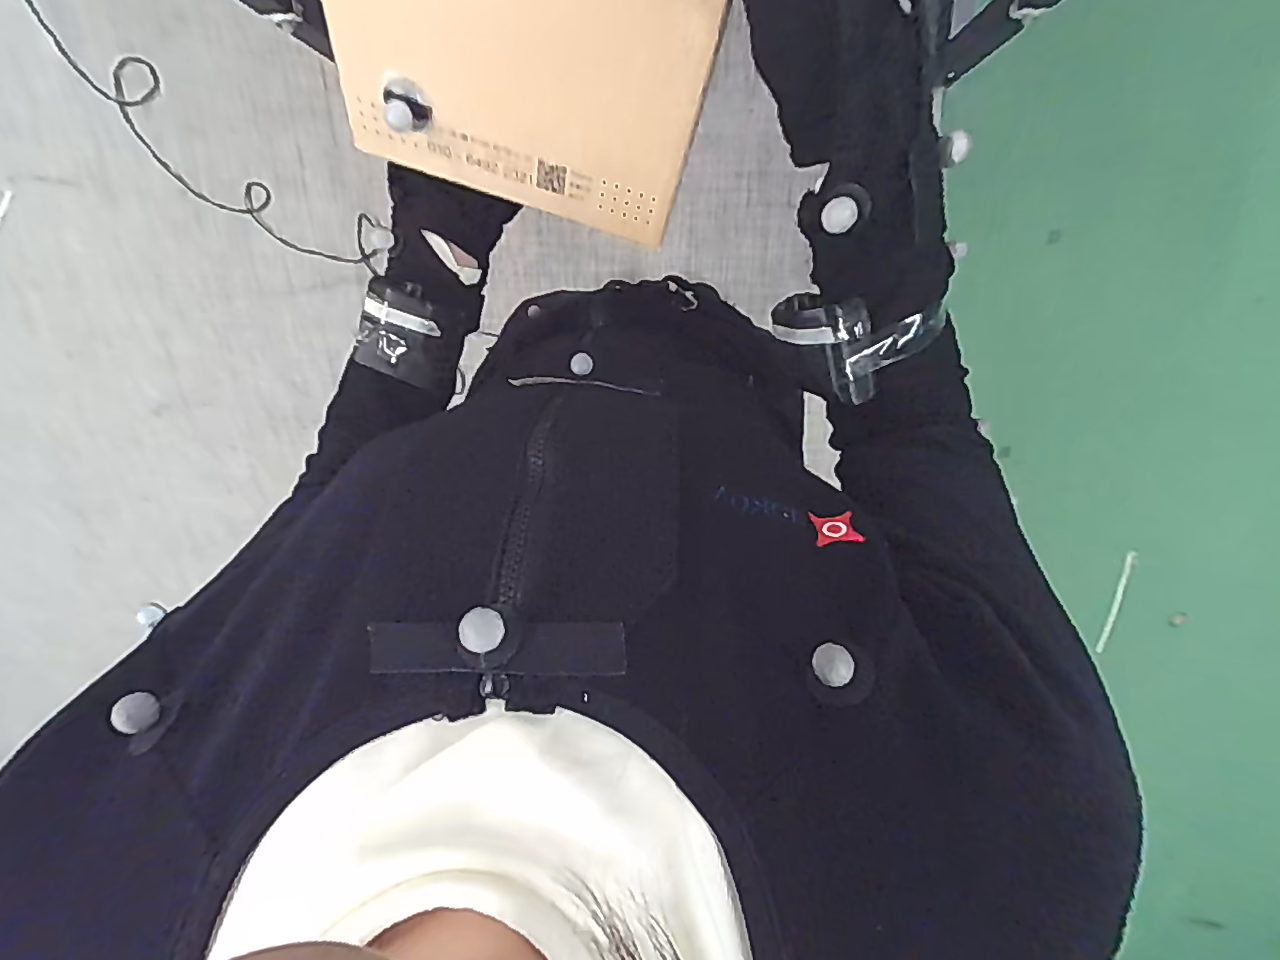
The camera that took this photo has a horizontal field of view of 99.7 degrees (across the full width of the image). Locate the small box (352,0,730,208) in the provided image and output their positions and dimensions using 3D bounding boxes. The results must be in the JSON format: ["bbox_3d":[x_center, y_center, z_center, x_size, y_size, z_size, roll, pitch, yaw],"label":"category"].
[{"bbox_3d":[-0.033,-0.272,0.267,0.168,0.179,0.176,17,146,-6],"label":"small box"}]
